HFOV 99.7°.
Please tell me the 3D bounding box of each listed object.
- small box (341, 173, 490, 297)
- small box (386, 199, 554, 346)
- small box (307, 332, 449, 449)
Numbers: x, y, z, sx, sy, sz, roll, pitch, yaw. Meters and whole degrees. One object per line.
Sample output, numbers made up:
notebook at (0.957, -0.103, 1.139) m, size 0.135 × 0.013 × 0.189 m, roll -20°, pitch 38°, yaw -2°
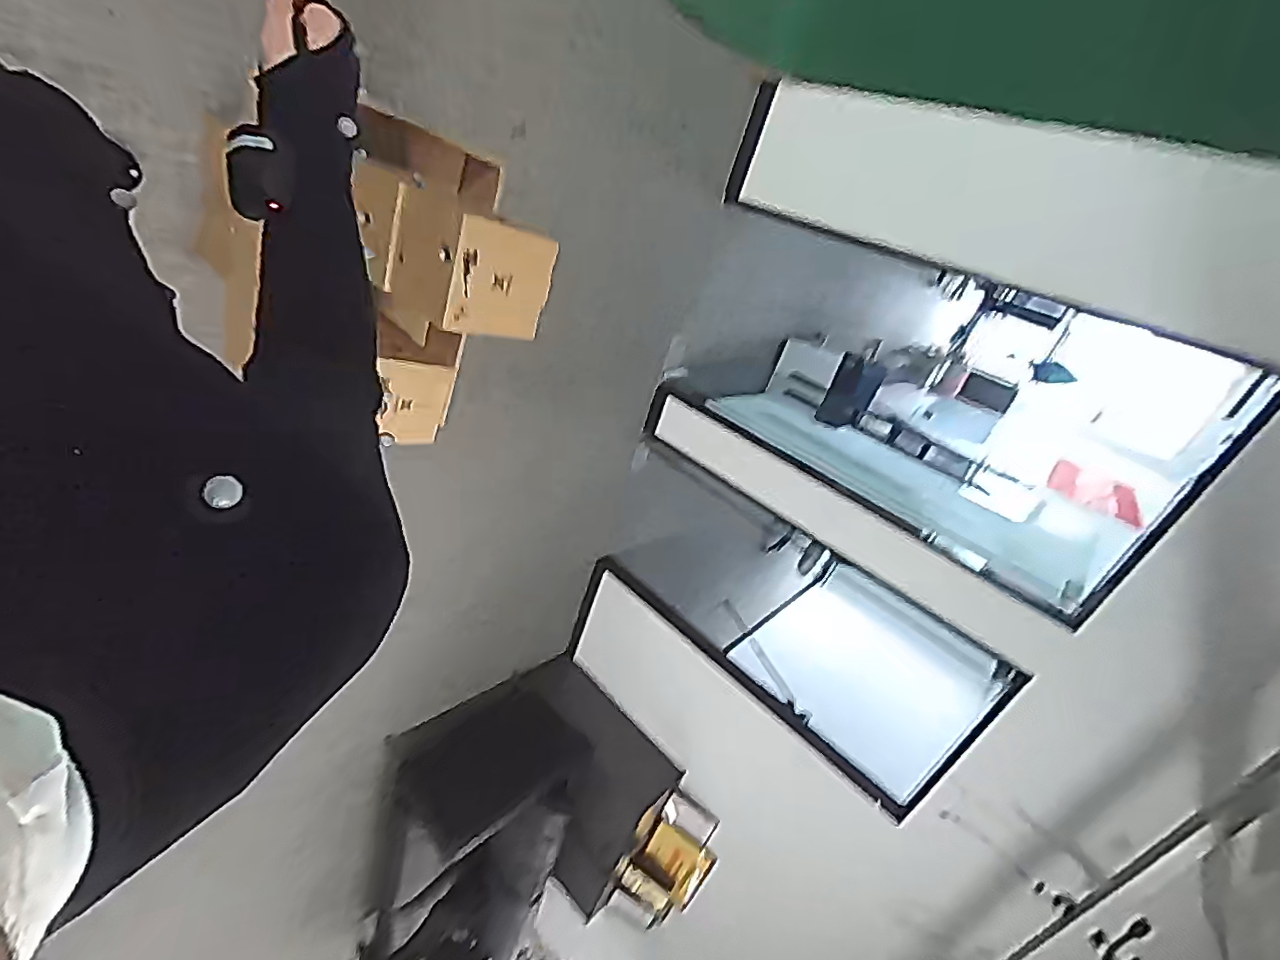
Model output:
small box at (-0.395, -0.414, 0.945) m, size 0.179 × 0.176 × 0.168 m, roll -8°, pitch 127°, yaw -51°
small box at (-0.275, -0.330, 0.871) m, size 0.179 × 0.176 × 0.168 m, roll -10°, pitch 127°, yaw -51°
small box at (-0.506, -0.170, 1.039) m, size 0.179 × 0.176 × 0.168 m, roll -4°, pitch 123°, yaw -54°
